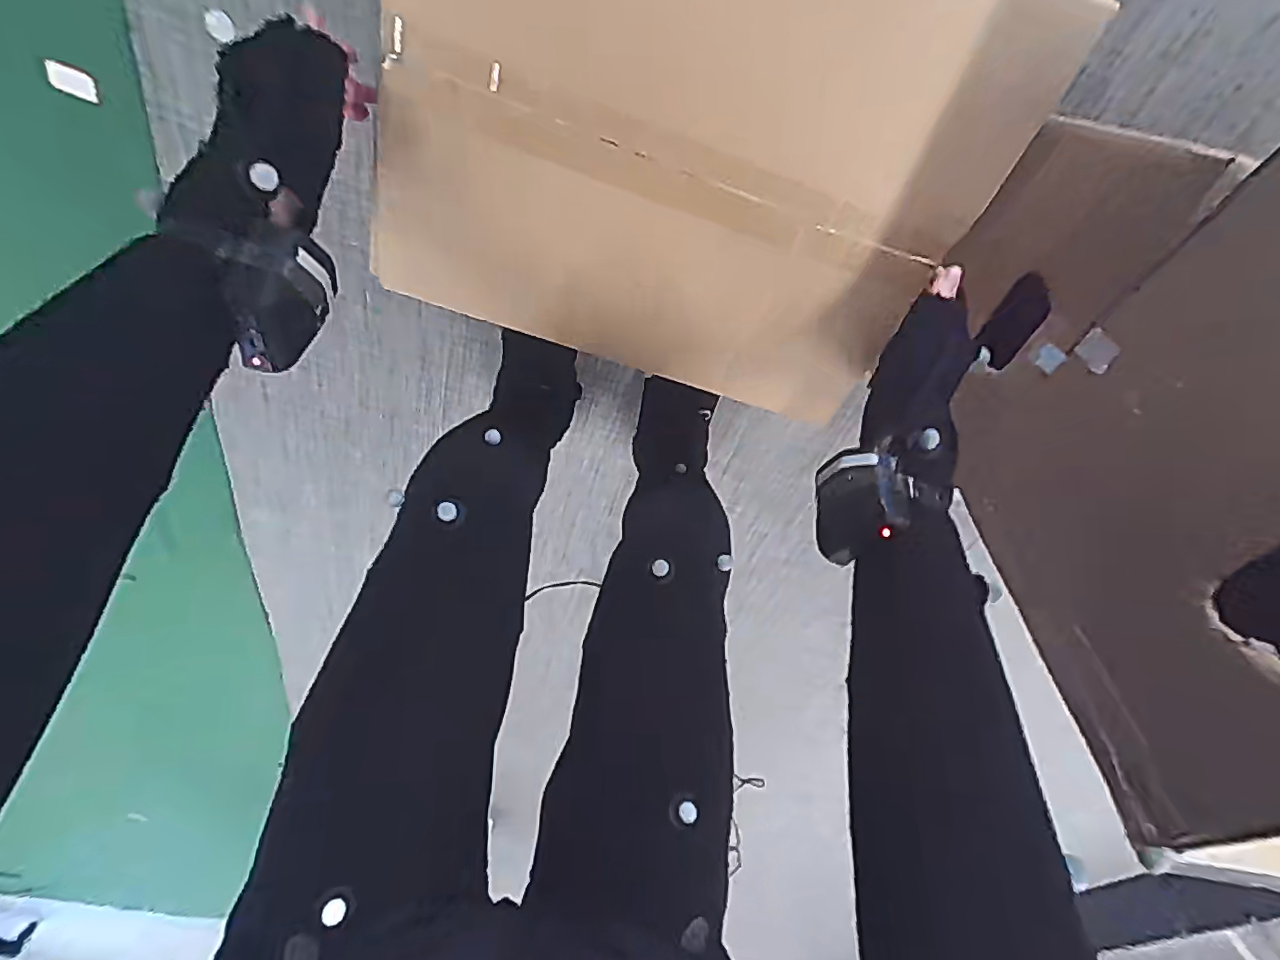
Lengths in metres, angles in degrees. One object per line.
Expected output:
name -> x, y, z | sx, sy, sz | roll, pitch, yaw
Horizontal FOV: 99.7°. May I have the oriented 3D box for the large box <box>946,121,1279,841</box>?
large box -> 0.512, 0.034, 0.347 | 0.408, 0.320, 0.320 | 15, 133, -9
